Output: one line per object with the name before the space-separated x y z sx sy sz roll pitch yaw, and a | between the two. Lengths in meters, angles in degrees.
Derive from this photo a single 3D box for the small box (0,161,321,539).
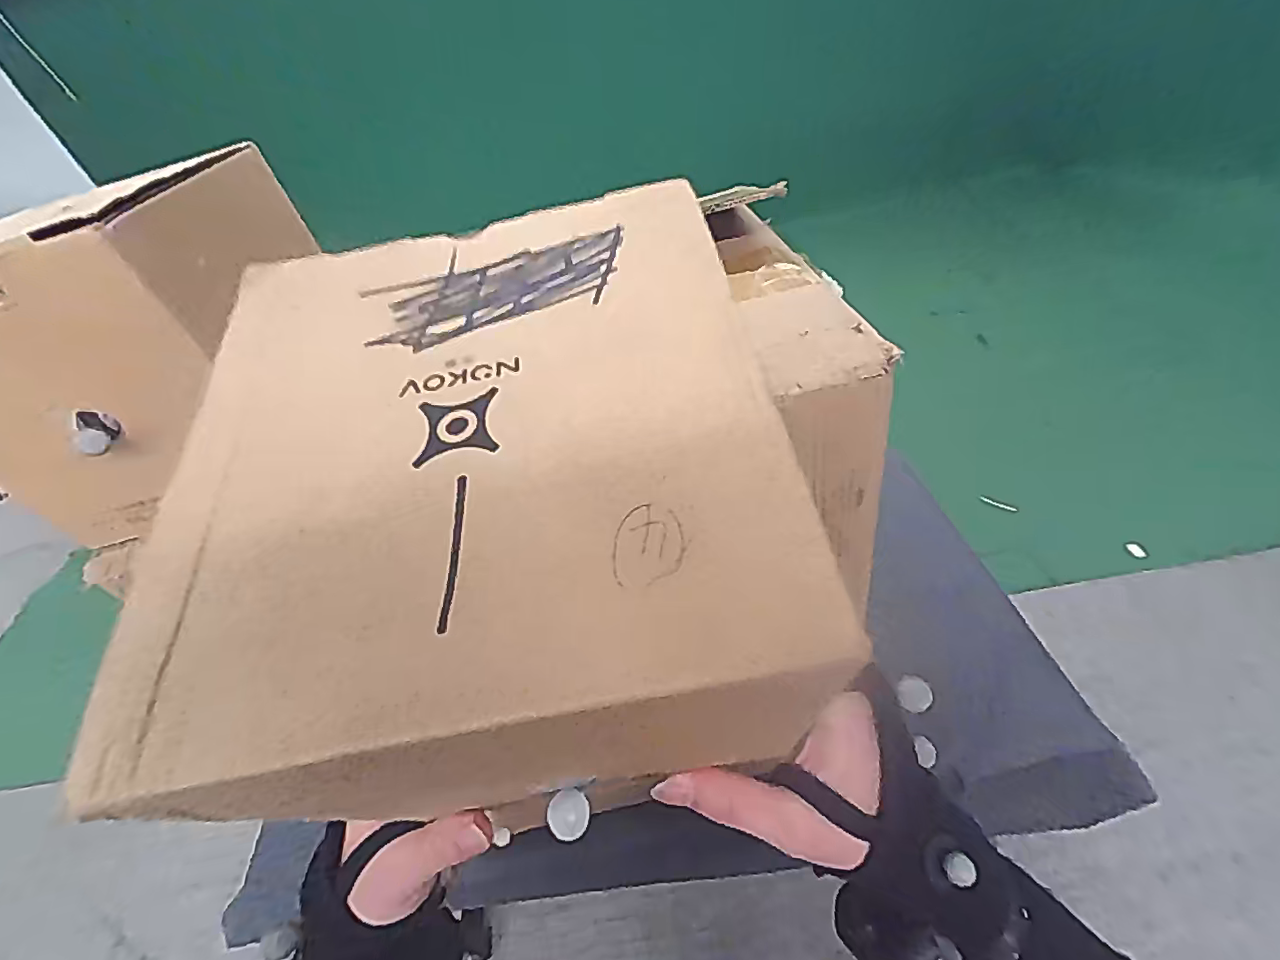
small box | -0.302 -0.080 0.360 0.168 0.176 0.179 -14 42 3

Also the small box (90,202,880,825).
small box | -0.035 0.027 0.220 0.168 0.176 0.179 -12 58 1
